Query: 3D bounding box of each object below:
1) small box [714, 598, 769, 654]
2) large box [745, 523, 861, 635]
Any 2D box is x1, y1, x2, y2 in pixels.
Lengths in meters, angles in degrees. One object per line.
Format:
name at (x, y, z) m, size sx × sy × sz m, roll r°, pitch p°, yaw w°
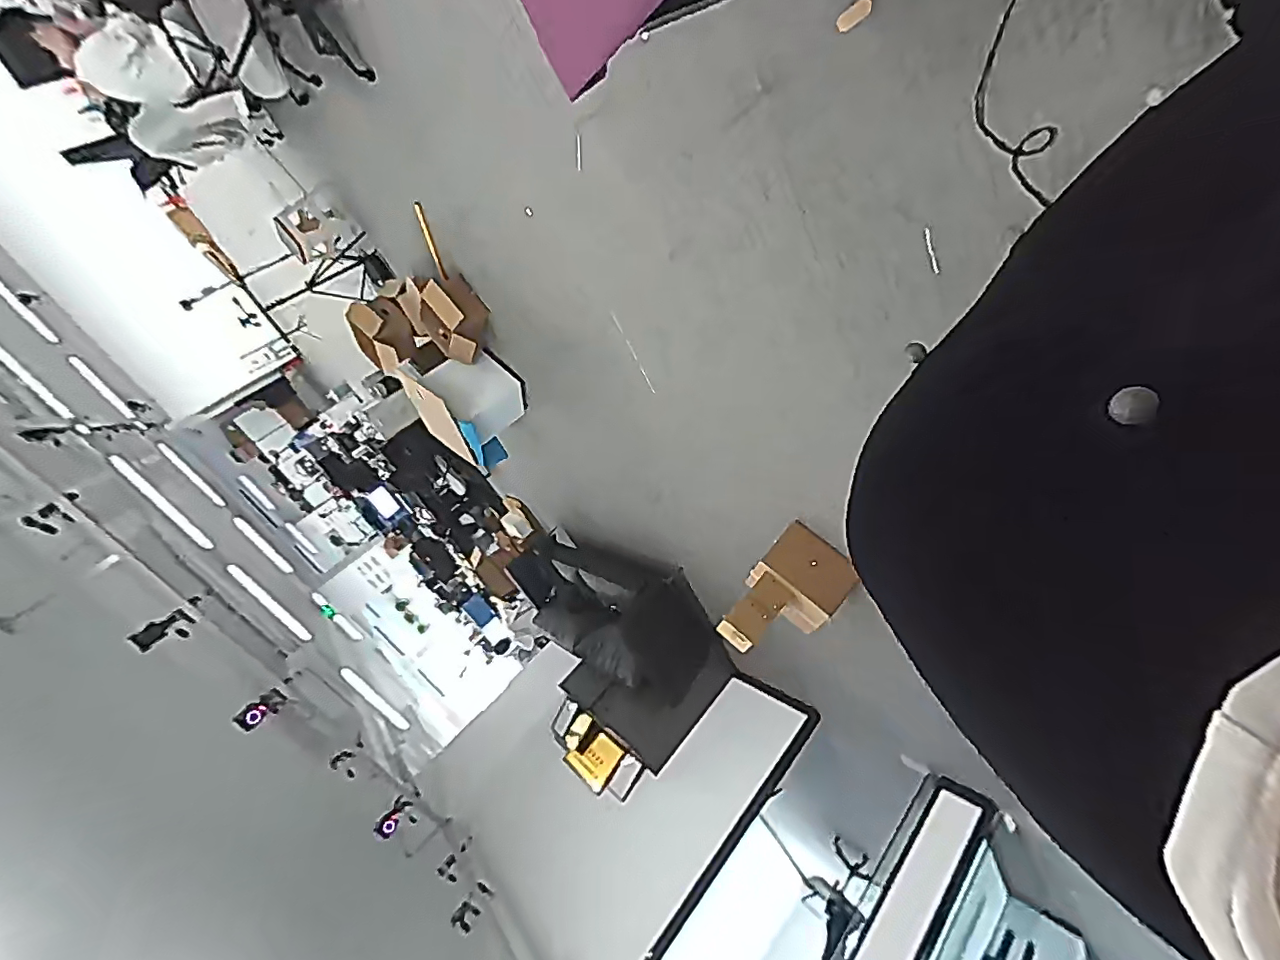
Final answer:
small box at (0.474, 0.675, 2.509) m, size 0.168 × 0.176 × 0.179 m, roll 40°, pitch 154°, yaw 16°
large box at (0.801, 0.490, 2.692) m, size 0.408 × 0.320 × 0.320 m, roll 39°, pitch 154°, yaw 17°
